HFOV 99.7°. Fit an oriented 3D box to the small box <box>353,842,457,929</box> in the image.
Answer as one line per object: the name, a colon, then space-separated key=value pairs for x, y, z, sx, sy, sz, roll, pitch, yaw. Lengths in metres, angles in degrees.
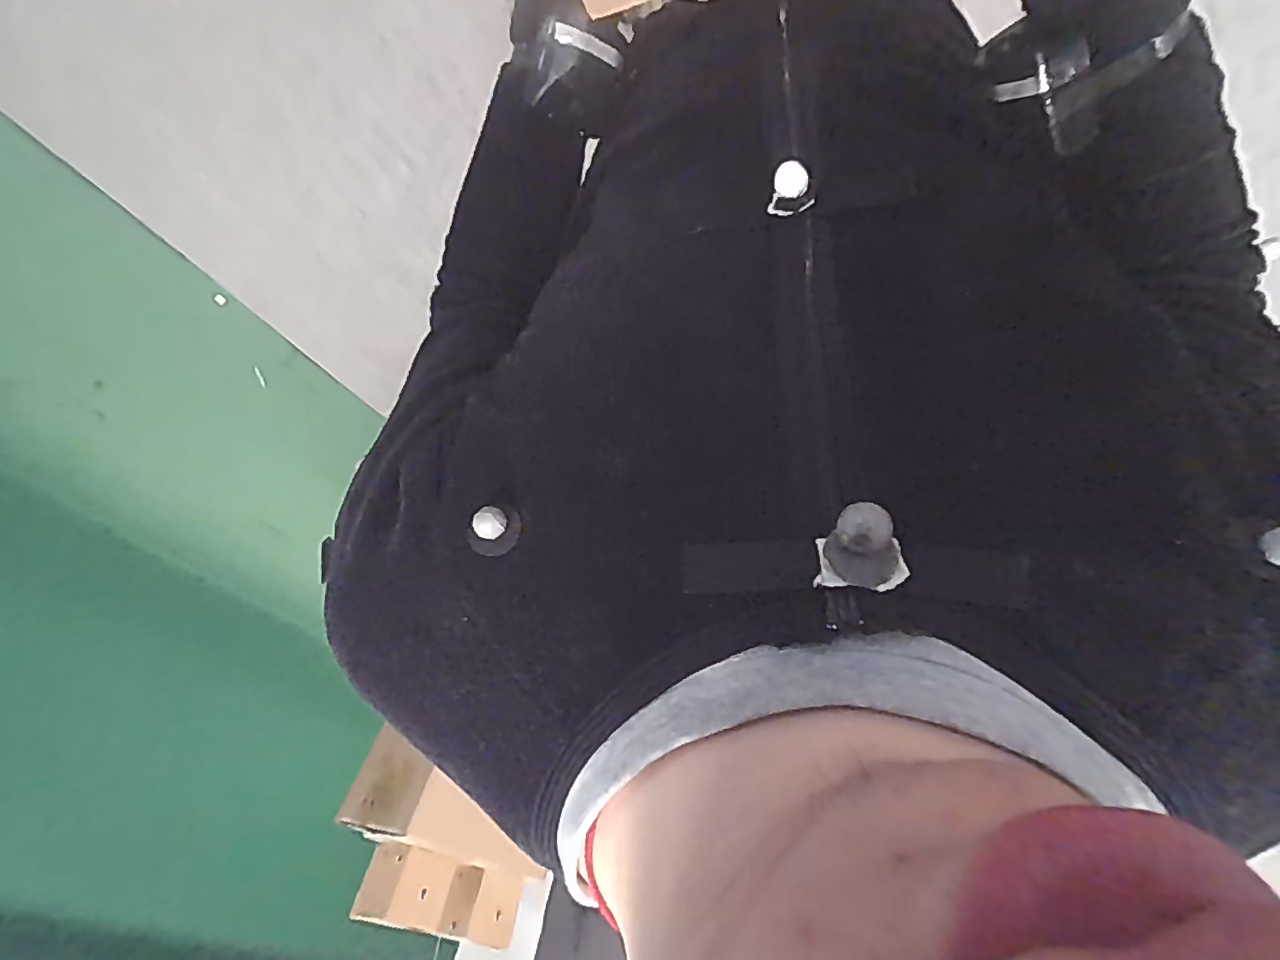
small box: x=-0.658 y=1.145 z=1.533 sx=0.168 sy=0.176 sz=0.179 roll=-21 pitch=129 yaw=31

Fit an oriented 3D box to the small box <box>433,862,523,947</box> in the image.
small box: x=-0.489 y=1.296 z=1.655 sx=0.168 sy=0.176 sz=0.179 roll=-21 pitch=128 yaw=31
